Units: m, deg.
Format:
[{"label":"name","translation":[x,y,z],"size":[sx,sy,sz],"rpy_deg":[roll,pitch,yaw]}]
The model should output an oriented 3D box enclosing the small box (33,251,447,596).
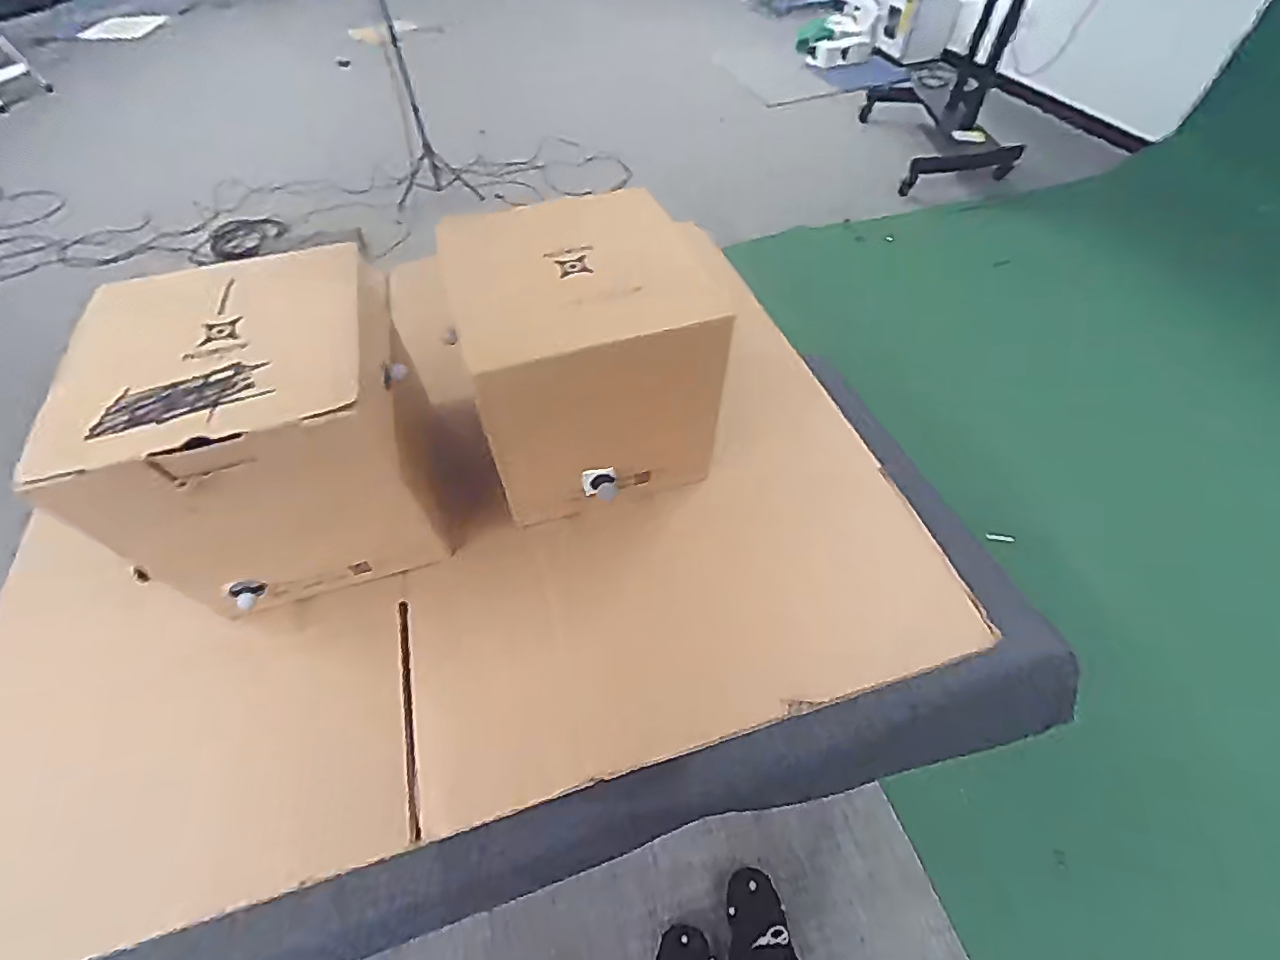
[{"label":"small box","translation":[-0.253,-0.032,0.397],"size":[0.168,0.176,0.179],"rpy_deg":[-15,54,-10]}]
